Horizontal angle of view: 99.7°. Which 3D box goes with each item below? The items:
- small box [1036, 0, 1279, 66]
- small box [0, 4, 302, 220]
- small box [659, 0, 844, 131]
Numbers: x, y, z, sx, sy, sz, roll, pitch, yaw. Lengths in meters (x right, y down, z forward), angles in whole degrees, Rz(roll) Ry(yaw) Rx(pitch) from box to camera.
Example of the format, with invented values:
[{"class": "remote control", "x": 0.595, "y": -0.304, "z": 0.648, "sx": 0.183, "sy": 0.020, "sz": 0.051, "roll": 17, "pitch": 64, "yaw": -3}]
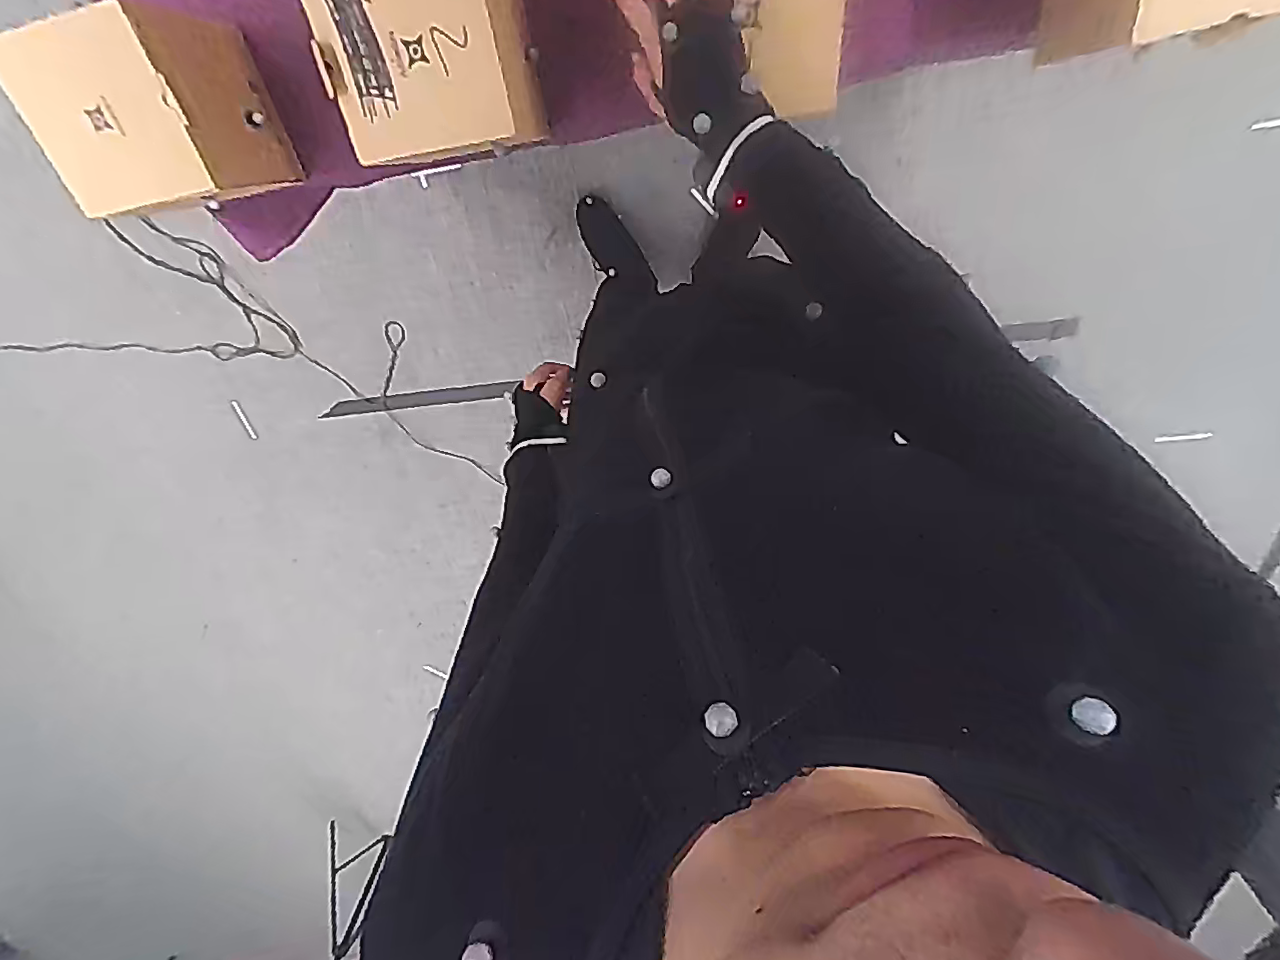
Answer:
[{"class": "small box", "x": 0.497, "y": -0.504, "z": 0.484, "sx": 0.168, "sy": 0.176, "sz": 0.179, "roll": -6, "pitch": 121, "yaw": 10}, {"class": "small box", "x": -0.553, "y": -0.416, "z": 0.635, "sx": 0.179, "sy": 0.176, "sz": 0.168, "roll": -8, "pitch": 121, "yaw": 8}, {"class": "small box", "x": 0.104, "y": -0.464, "z": 0.546, "sx": 0.168, "sy": 0.176, "sz": 0.179, "roll": -2, "pitch": 123, "yaw": 7}]
